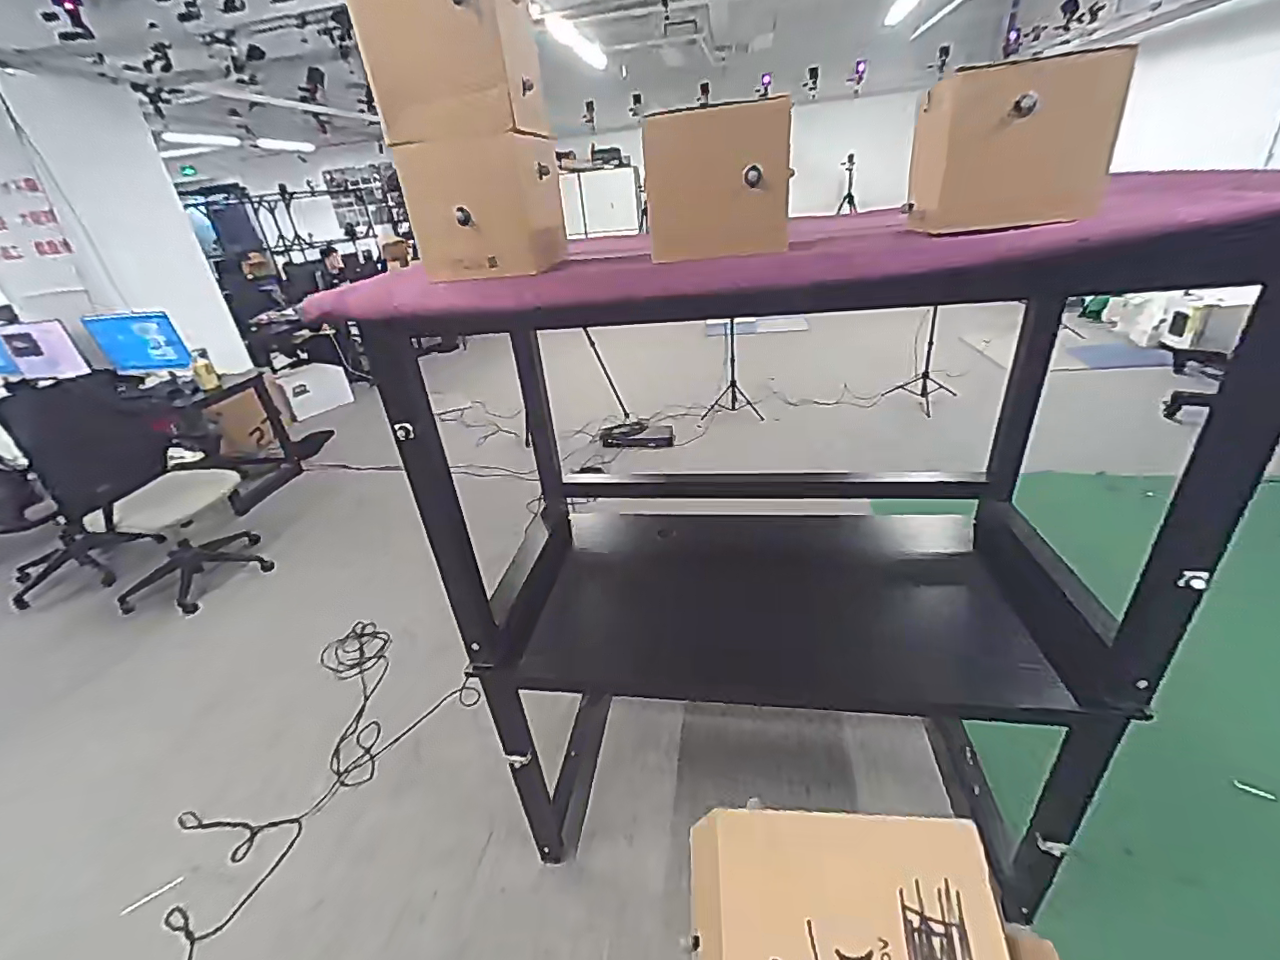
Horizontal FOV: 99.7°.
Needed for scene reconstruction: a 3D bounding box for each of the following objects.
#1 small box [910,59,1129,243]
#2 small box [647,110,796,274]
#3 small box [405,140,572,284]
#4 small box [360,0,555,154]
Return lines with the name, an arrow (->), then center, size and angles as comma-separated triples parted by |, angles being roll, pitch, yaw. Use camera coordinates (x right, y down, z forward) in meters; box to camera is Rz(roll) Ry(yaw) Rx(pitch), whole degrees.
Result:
small box -> 0.458, -0.401, 0.691 | 0.179, 0.176, 0.168 | 0, 26, 12
small box -> 0.113, -0.386, 0.737 | 0.179, 0.176, 0.168 | -2, 27, 10
small box -> -0.205, -0.384, 0.789 | 0.168, 0.176, 0.179 | 0, 28, 9
small box -> -0.224, -0.526, 0.713 | 0.179, 0.176, 0.168 | -1, 29, 8
